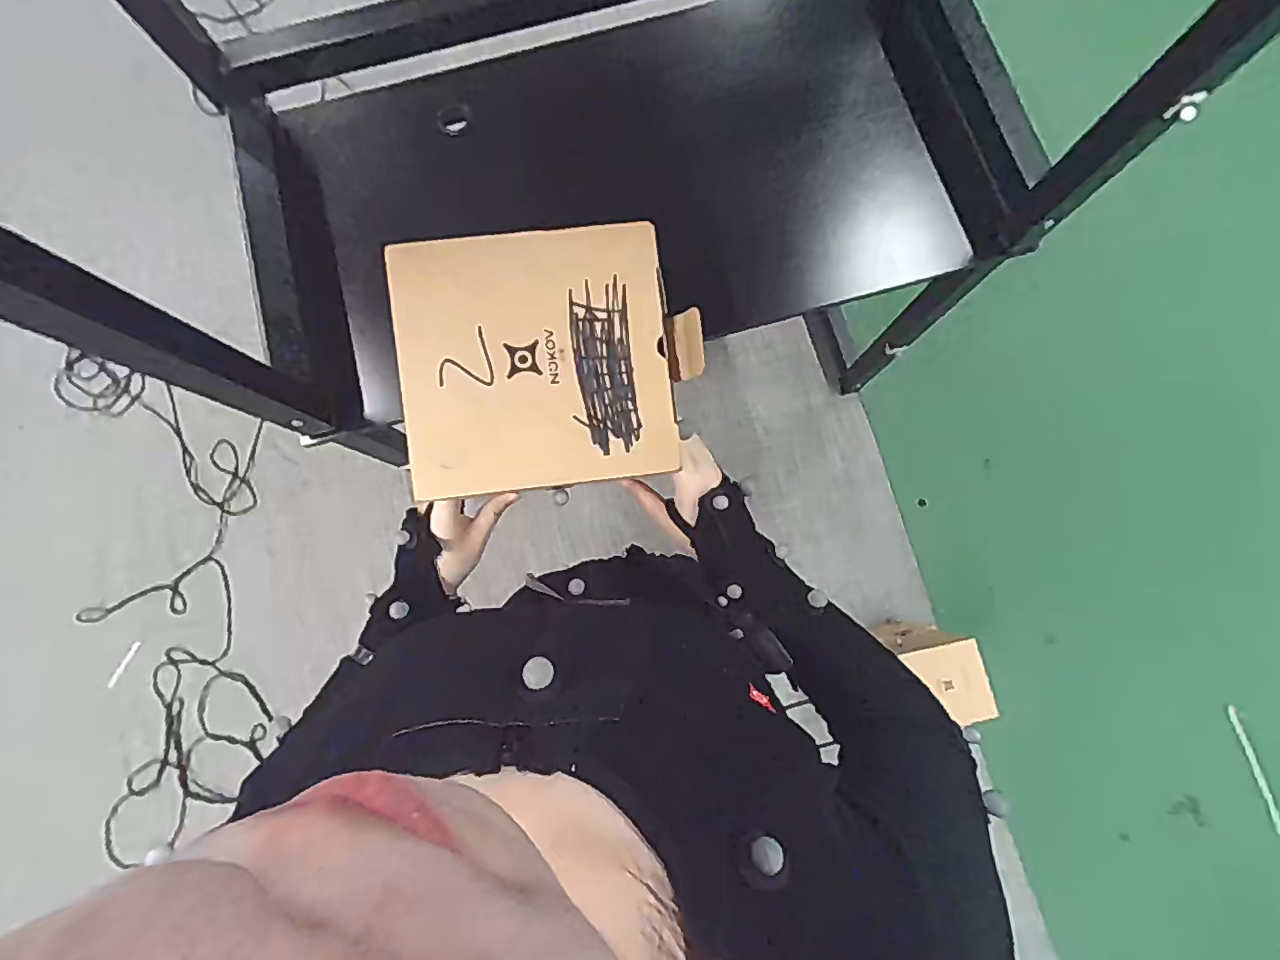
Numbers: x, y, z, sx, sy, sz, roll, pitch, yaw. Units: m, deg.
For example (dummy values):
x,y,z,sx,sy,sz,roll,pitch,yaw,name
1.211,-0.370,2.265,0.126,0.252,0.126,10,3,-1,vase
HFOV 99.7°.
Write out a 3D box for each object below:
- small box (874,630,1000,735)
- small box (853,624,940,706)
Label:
x,y,z,sx,sy,sz,roll,pitch,yaw,name
0.646,0.443,1.205,0.179,0.176,0.168,-13,82,0,small box
0.659,0.467,1.365,0.168,0.176,0.179,-12,82,0,small box
